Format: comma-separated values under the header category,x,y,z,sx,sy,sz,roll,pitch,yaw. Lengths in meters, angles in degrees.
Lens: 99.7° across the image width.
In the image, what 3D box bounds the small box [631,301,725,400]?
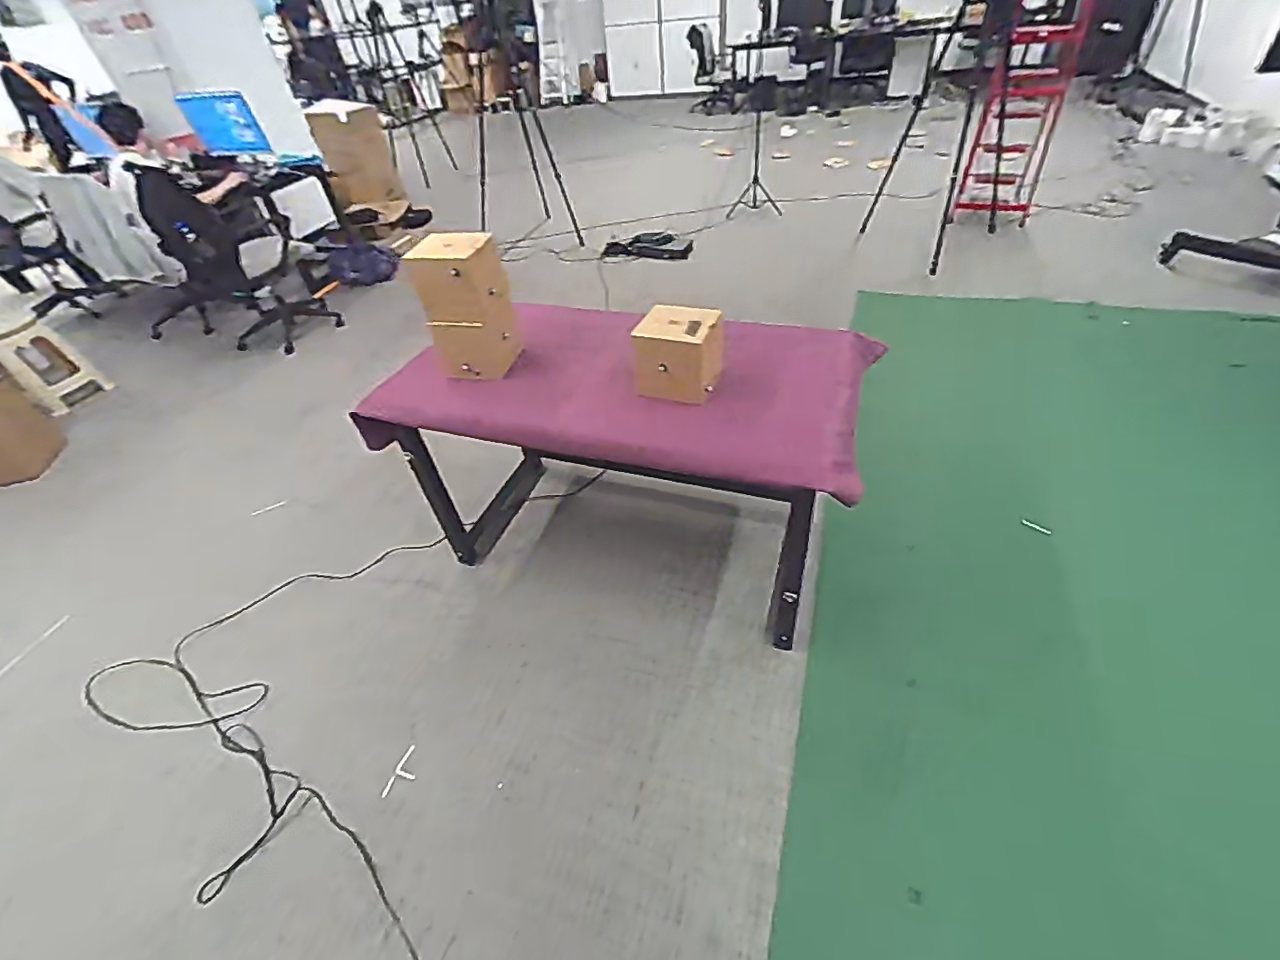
category,x,y,z,sx,sy,sz,roll,pitch,yaw
small box,0.099,-0.316,1.324,0.179,0.176,0.168,15,46,23

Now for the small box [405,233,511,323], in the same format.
category,x,y,z,sx,sy,sz,roll,pitch,yaw
small box,-0.457,-0.517,1.386,0.179,0.176,0.168,4,45,12
